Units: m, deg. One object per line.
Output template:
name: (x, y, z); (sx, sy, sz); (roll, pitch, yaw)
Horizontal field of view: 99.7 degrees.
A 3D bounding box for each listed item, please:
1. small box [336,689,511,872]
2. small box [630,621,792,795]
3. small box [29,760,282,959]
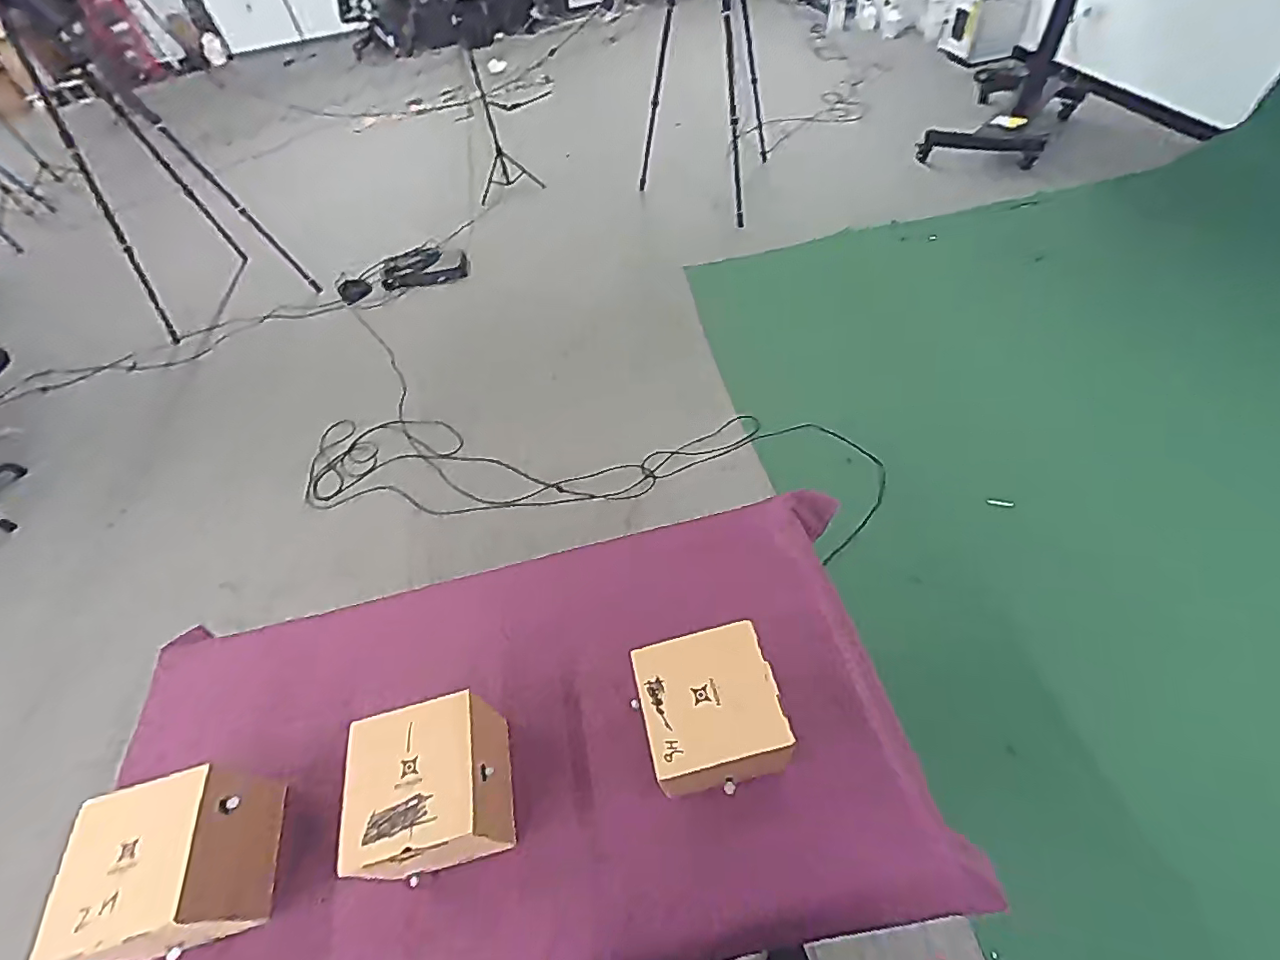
small box: (-0.286, 0.418, 0.747); (0.168, 0.176, 0.179); (-15, 51, -3)
small box: (0.093, 0.324, 0.760); (0.179, 0.176, 0.168); (-13, 51, -2)
small box: (-0.620, 0.508, 0.726); (0.168, 0.176, 0.179); (-16, 52, -3)
